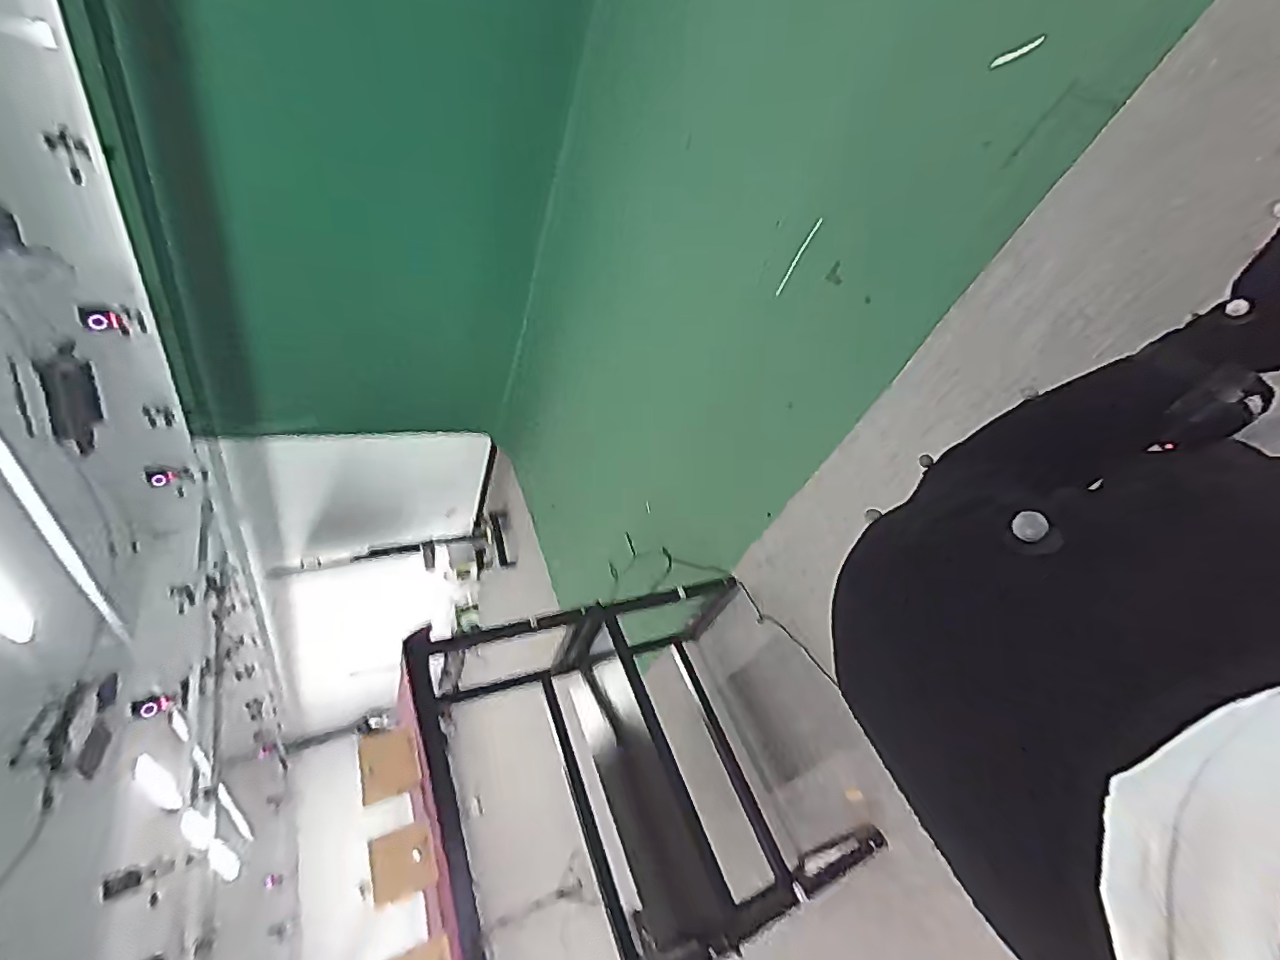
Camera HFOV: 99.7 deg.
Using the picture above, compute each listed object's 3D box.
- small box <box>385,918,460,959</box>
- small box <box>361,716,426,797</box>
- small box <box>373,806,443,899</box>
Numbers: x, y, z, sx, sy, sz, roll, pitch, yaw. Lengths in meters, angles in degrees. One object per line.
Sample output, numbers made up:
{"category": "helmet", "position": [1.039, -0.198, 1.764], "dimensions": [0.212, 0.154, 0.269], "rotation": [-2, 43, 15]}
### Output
{"category": "small box", "position": [-0.569, 1.290, 1.423], "dimensions": [0.168, 0.176, 0.179], "rotation": [64, 144, 30]}
{"category": "small box", "position": [-0.781, 0.878, 1.721], "dimensions": [0.168, 0.176, 0.179], "rotation": [63, 146, 30]}
{"category": "small box", "position": [-0.674, 1.079, 1.569], "dimensions": [0.168, 0.176, 0.179], "rotation": [64, 144, 31]}
